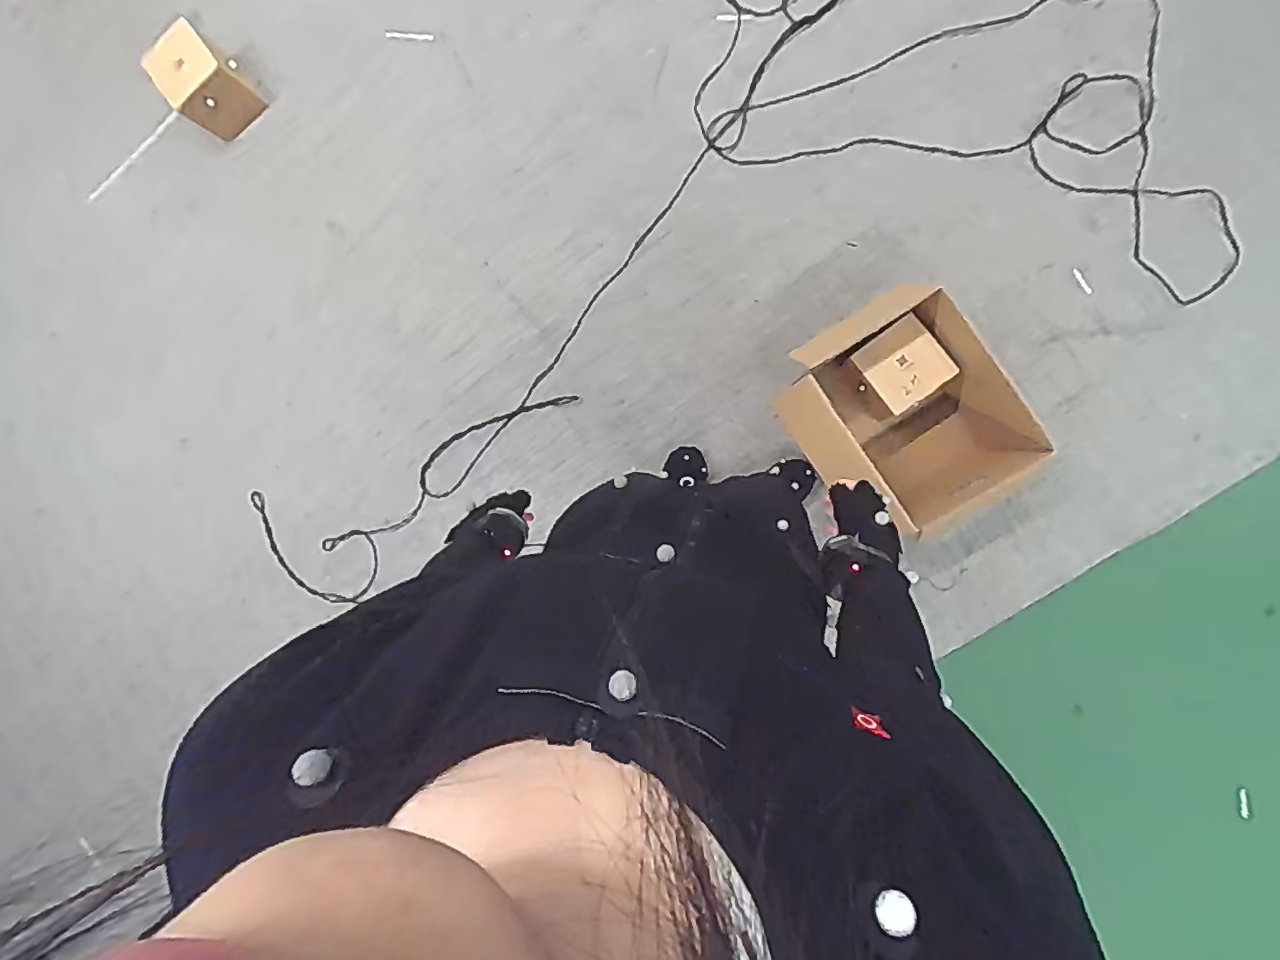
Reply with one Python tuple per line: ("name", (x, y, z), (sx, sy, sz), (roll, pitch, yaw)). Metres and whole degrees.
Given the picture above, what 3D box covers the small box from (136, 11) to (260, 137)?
("small box", (-1.187, -1.093, 1.471), (0.179, 0.176, 0.168), (-36, 90, 10))
